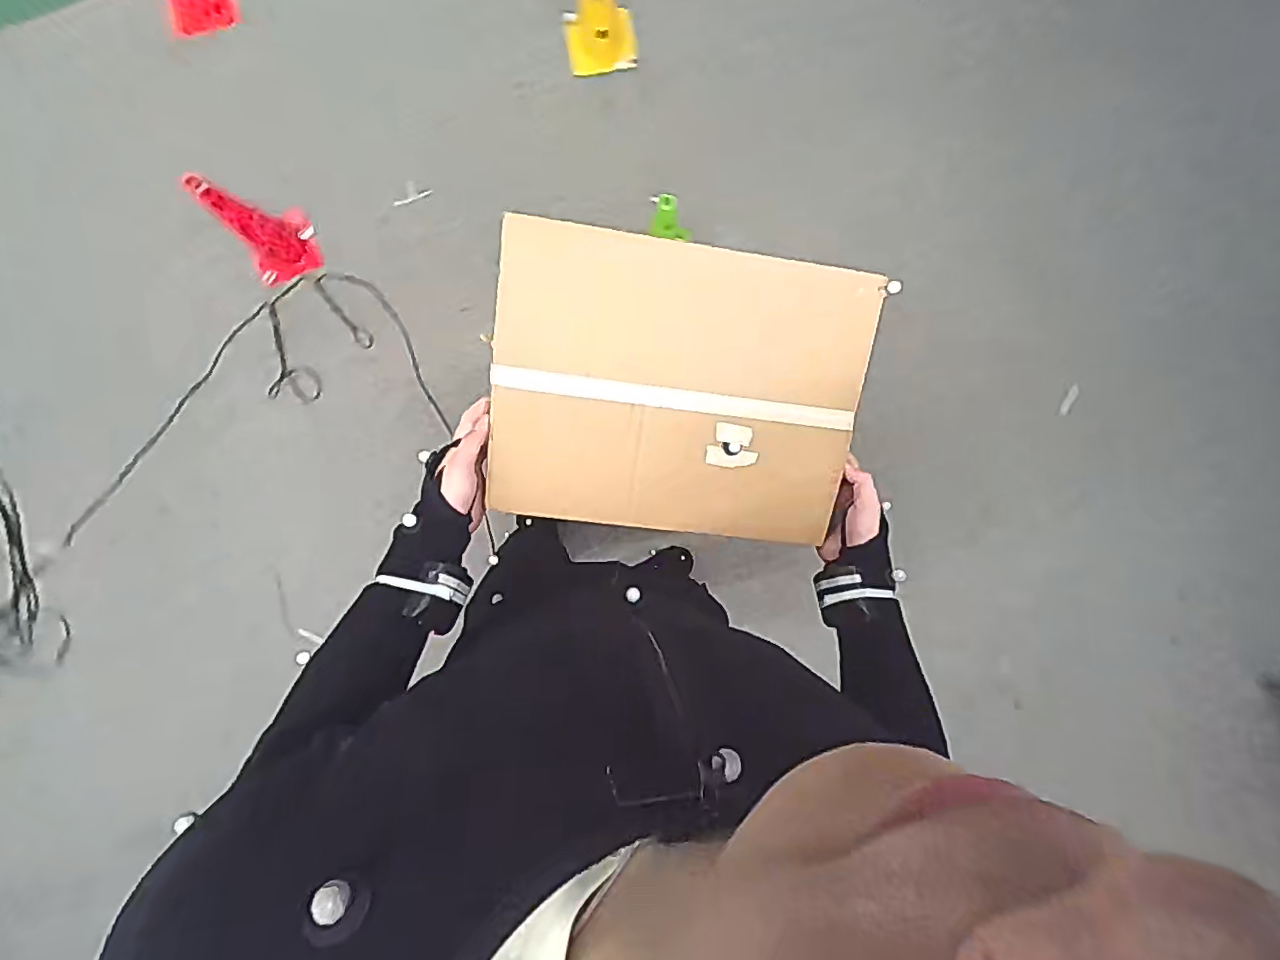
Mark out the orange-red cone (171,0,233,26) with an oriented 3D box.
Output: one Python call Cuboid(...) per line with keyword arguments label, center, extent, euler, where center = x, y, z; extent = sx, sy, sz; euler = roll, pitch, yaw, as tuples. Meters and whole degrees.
Cuboid(label="orange-red cone", center=(-1.409, -1.563, 1.554), extent=(0.199, 0.360, 0.198), euler=(-12, 87, 2))
